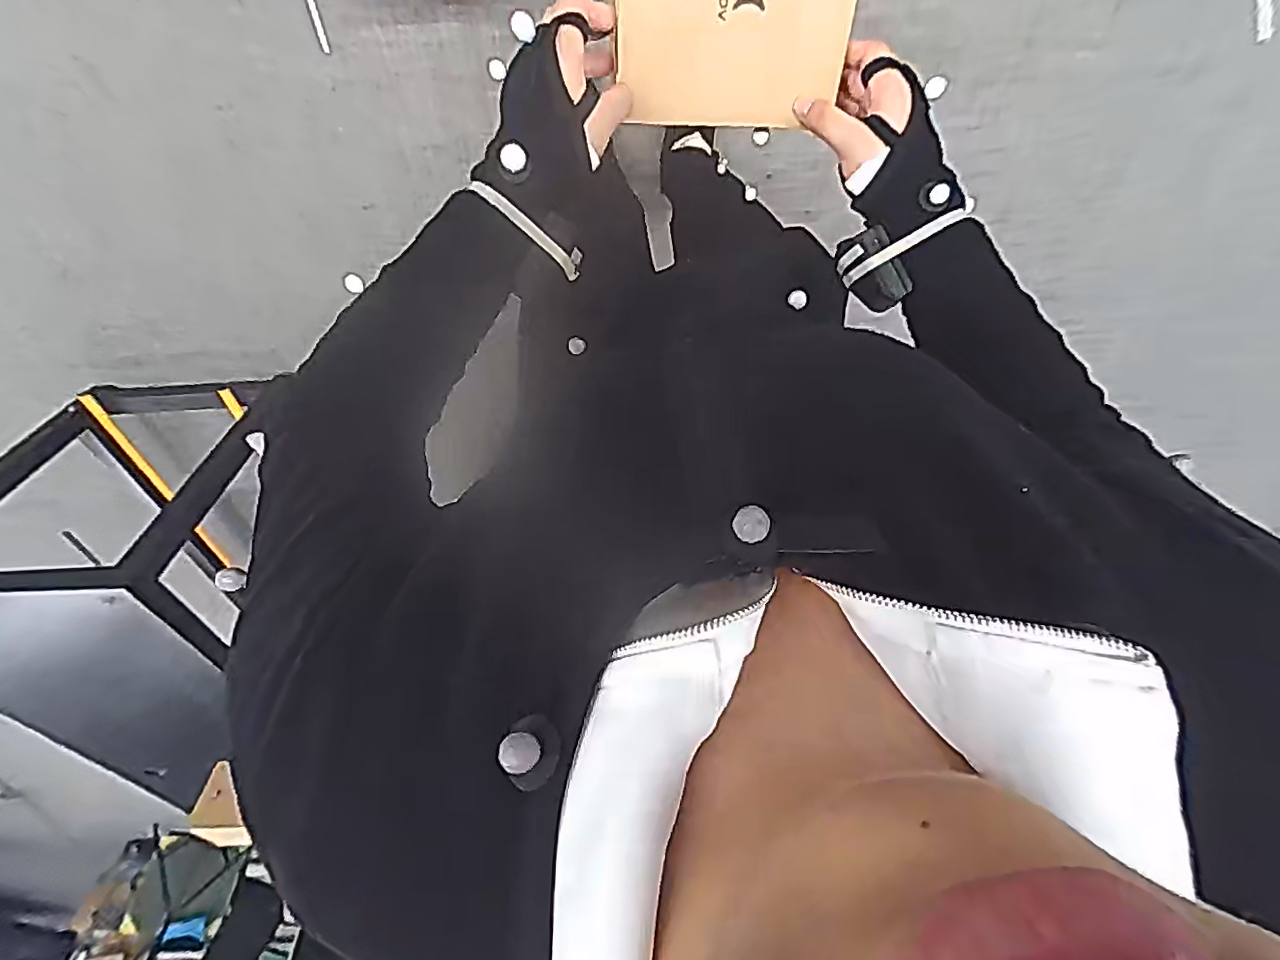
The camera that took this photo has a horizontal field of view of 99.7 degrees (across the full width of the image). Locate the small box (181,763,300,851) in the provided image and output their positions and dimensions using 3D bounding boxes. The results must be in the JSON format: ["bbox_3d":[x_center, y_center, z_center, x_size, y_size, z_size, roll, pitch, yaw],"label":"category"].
[{"bbox_3d":[-1.083,0.897,1.485,0.179,0.176,0.168,-3,134,-1],"label":"small box"}]

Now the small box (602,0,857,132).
[{"bbox_3d":[0.060,-0.389,0.432,0.179,0.176,0.168,-1,129,-5],"label":"small box"}]
